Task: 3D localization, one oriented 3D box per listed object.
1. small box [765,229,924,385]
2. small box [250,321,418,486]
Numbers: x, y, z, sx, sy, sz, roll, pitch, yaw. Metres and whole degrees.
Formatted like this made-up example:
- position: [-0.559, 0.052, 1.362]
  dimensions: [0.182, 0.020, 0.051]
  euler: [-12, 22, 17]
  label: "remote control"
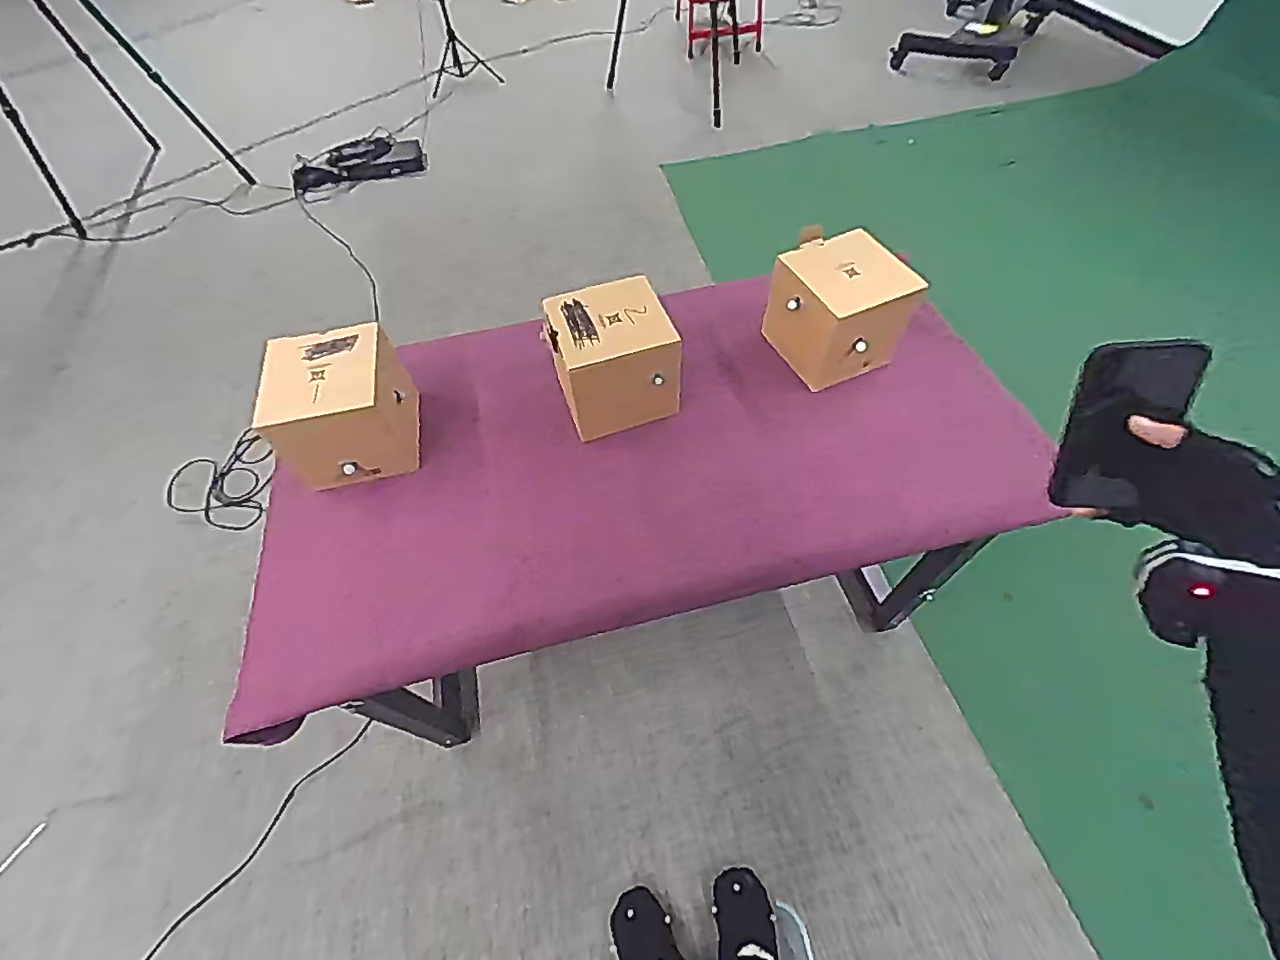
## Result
- position: [0.333, -0.285, 0.920]
  dimensions: [0.168, 0.176, 0.179]
  euler: [-22, 58, -11]
  label: "small box"
- position: [-0.459, -0.116, 0.844]
  dimensions: [0.168, 0.176, 0.179]
  euler: [-12, 59, -5]
  label: "small box"
